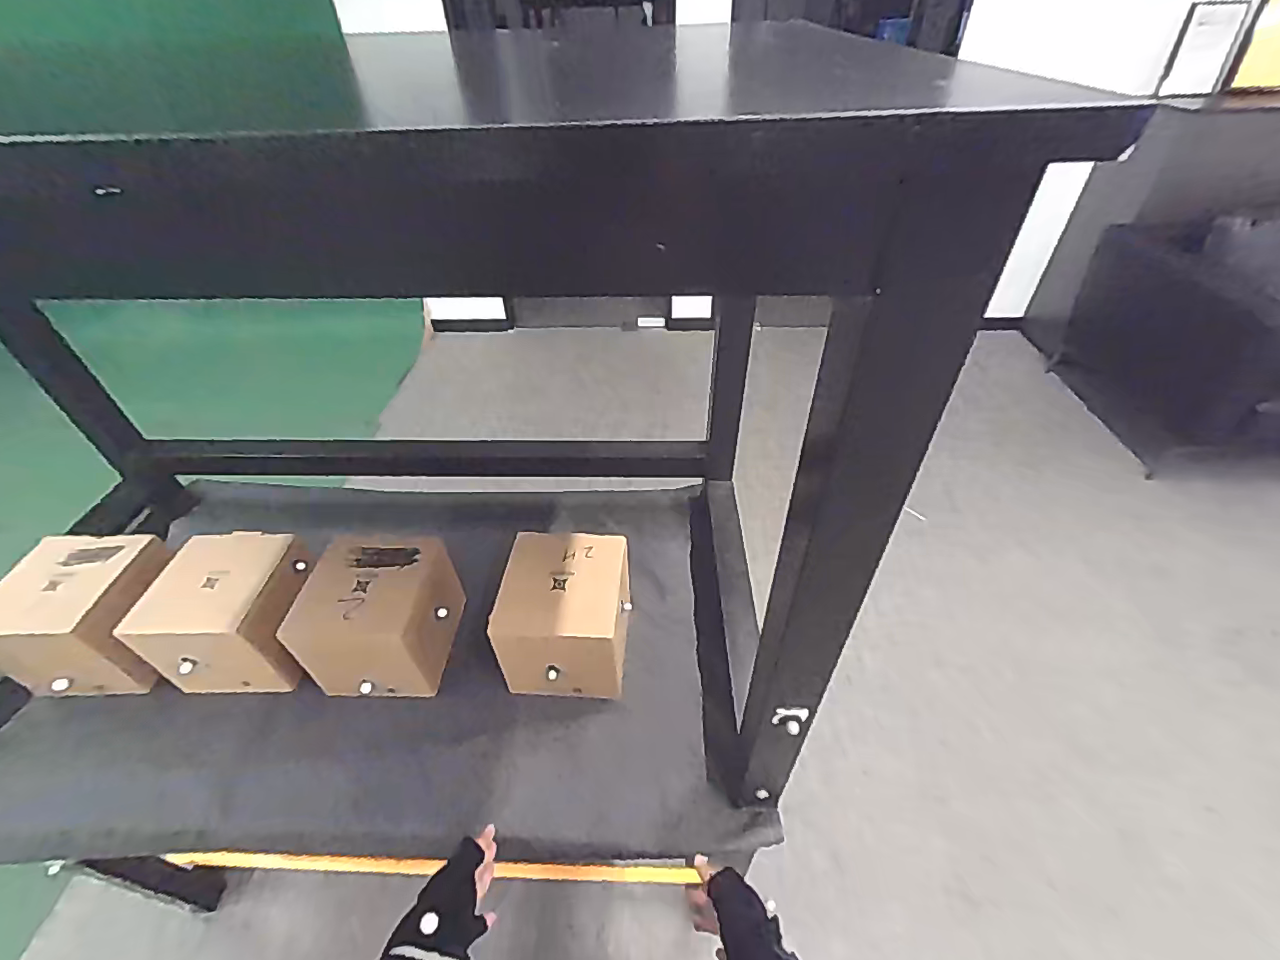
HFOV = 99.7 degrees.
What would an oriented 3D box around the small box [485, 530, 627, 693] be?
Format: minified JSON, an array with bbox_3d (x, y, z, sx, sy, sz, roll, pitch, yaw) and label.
[{"bbox_3d":[-0.110,0.196,0.802,0.168,0.176,0.179,2,42,4],"label":"small box"}]

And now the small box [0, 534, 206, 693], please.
[{"bbox_3d":[-0.819,0.203,0.826,0.168,0.176,0.179,-2,42,1],"label":"small box"}]
